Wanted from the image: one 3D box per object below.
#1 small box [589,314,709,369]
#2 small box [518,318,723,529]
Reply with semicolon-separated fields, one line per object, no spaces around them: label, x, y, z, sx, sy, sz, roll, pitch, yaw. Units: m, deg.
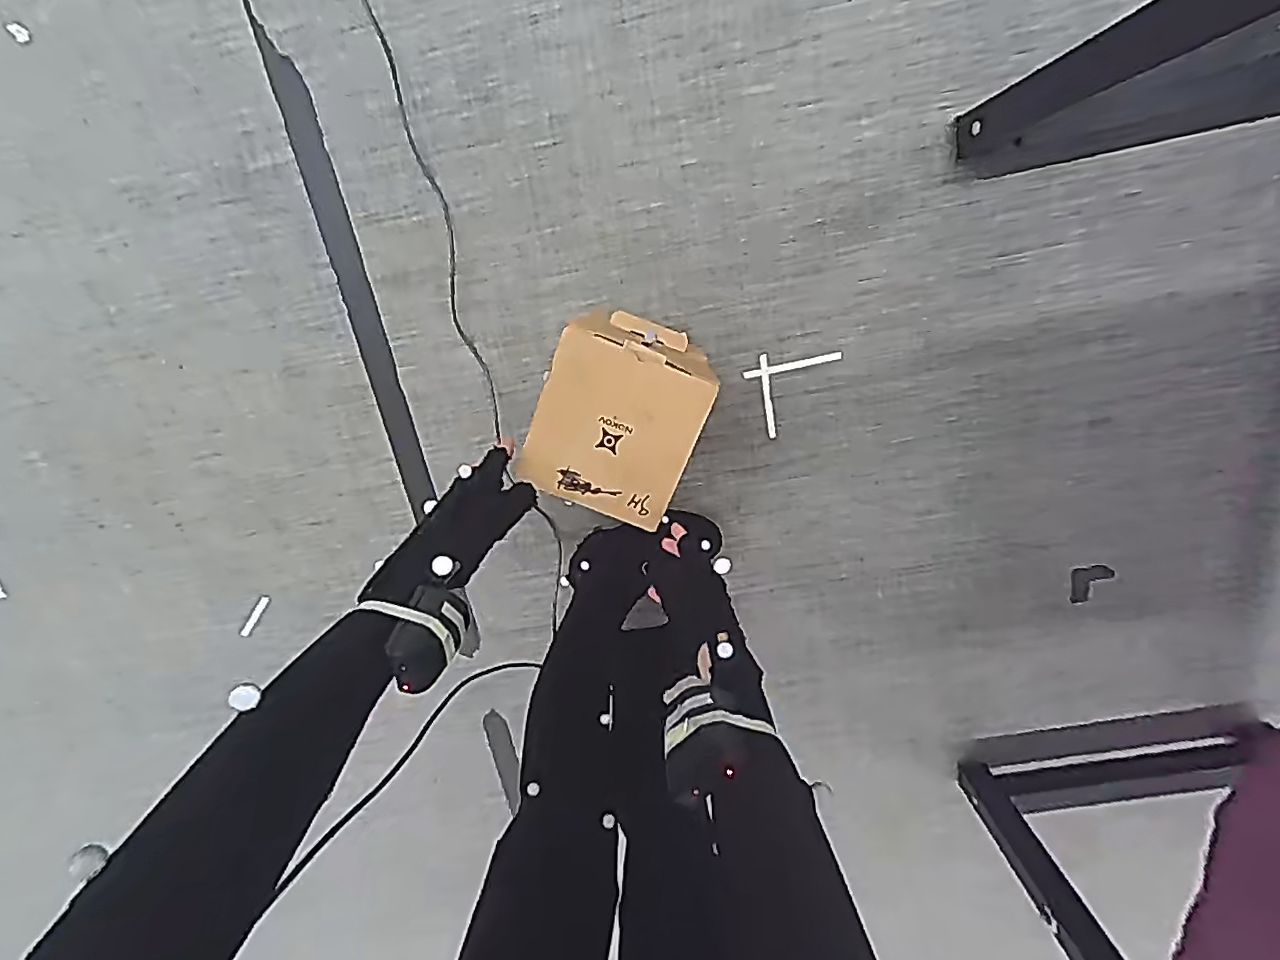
small box;-0.015;-0.129;0.782;0.168;0.176;0.179;19;108;-4
small box;-0.022;-0.075;0.627;0.168;0.176;0.179;21;107;-5
